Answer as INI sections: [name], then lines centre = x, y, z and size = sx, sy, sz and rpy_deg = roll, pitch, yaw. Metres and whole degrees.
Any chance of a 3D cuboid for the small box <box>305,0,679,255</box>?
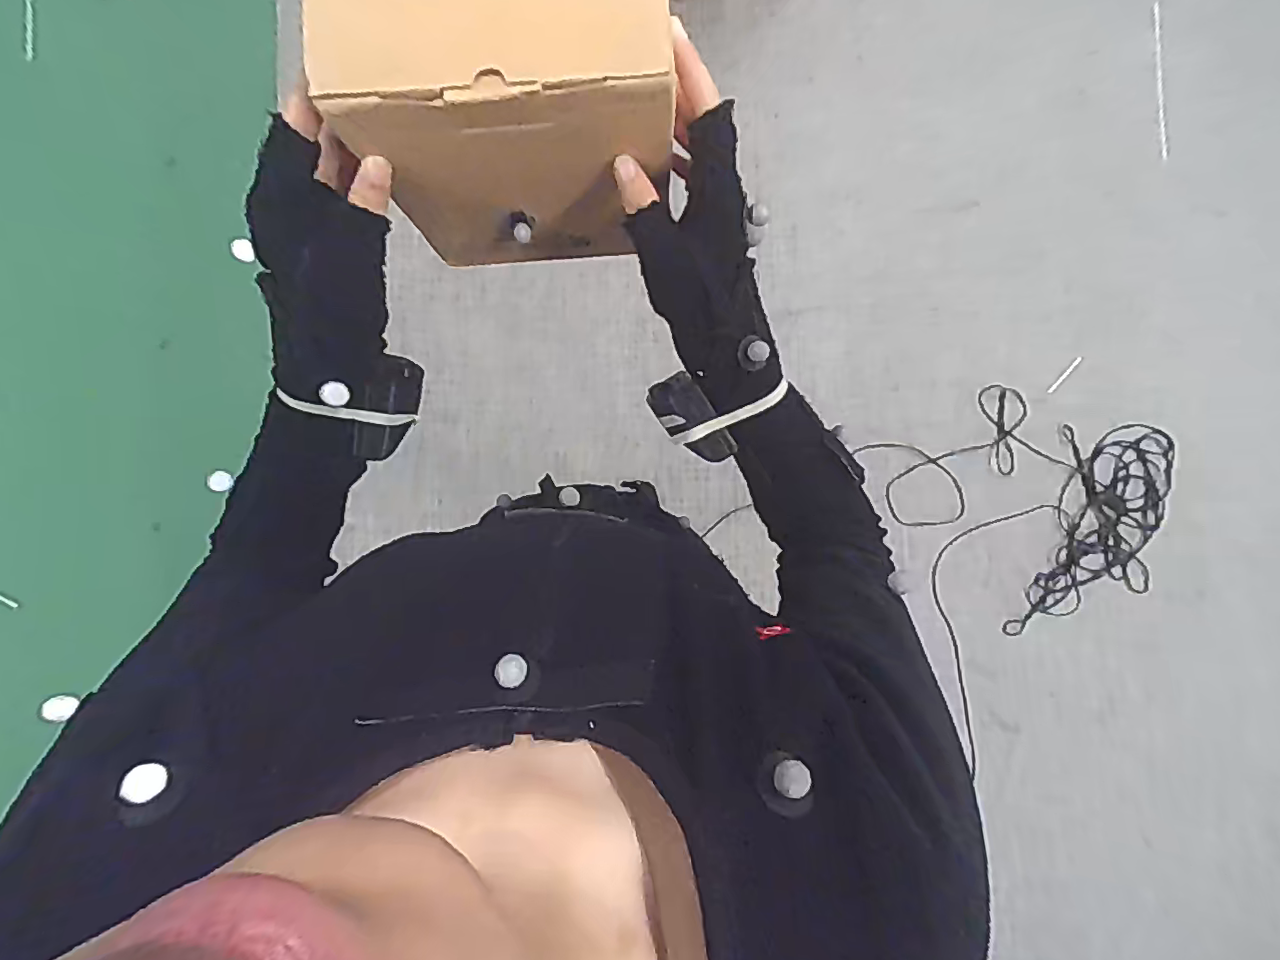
[small box]
centre = -0.068, -0.260, 0.322
size = 0.168, 0.176, 0.179
rpy_deg = -4, 87, 1
